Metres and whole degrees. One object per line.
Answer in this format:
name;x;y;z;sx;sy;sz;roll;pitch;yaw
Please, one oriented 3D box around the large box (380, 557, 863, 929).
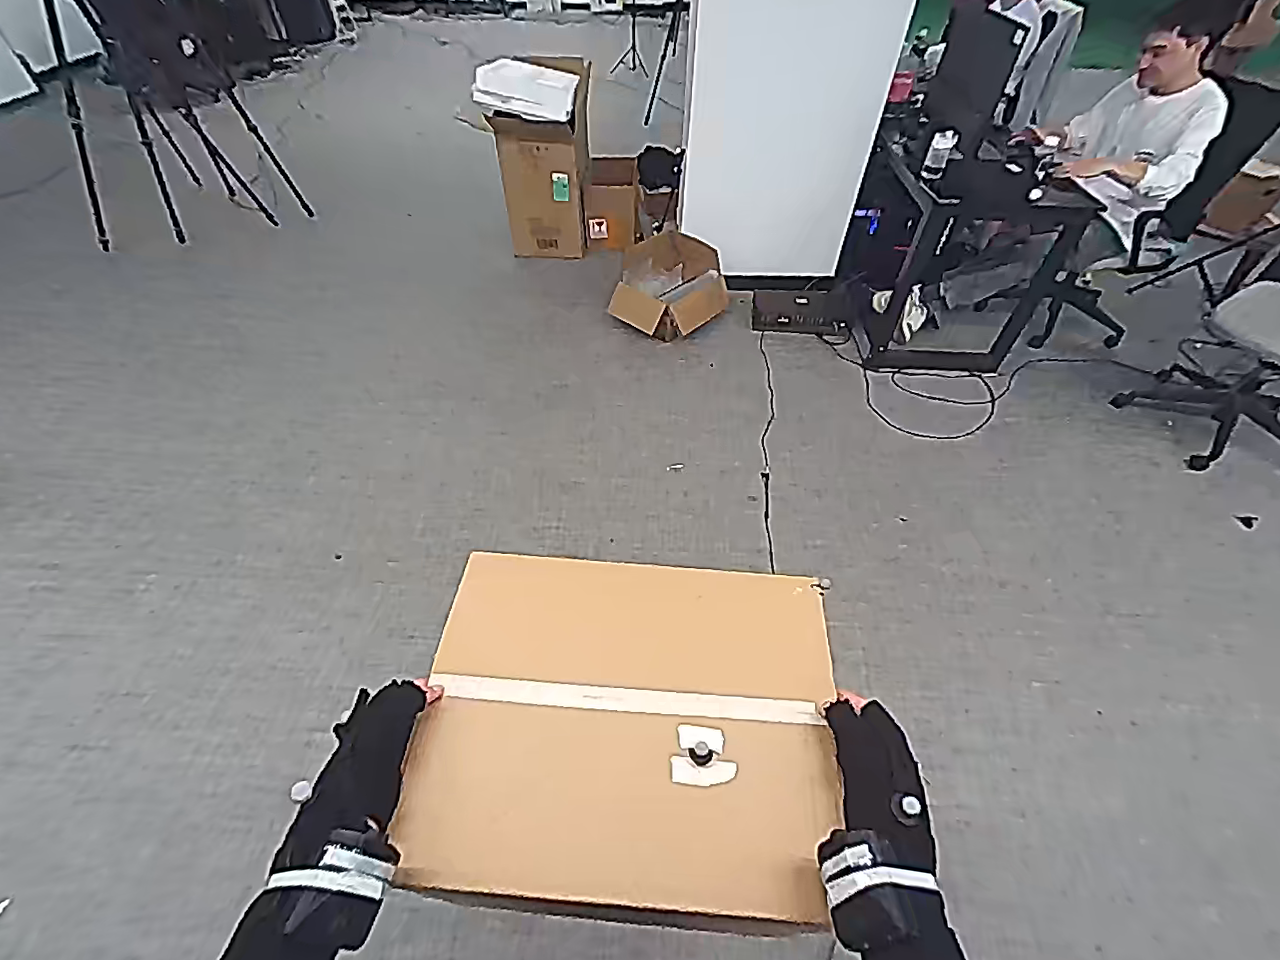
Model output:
large box;-0.014;0.316;0.645;0.408;0.320;0.320;5;49;1
